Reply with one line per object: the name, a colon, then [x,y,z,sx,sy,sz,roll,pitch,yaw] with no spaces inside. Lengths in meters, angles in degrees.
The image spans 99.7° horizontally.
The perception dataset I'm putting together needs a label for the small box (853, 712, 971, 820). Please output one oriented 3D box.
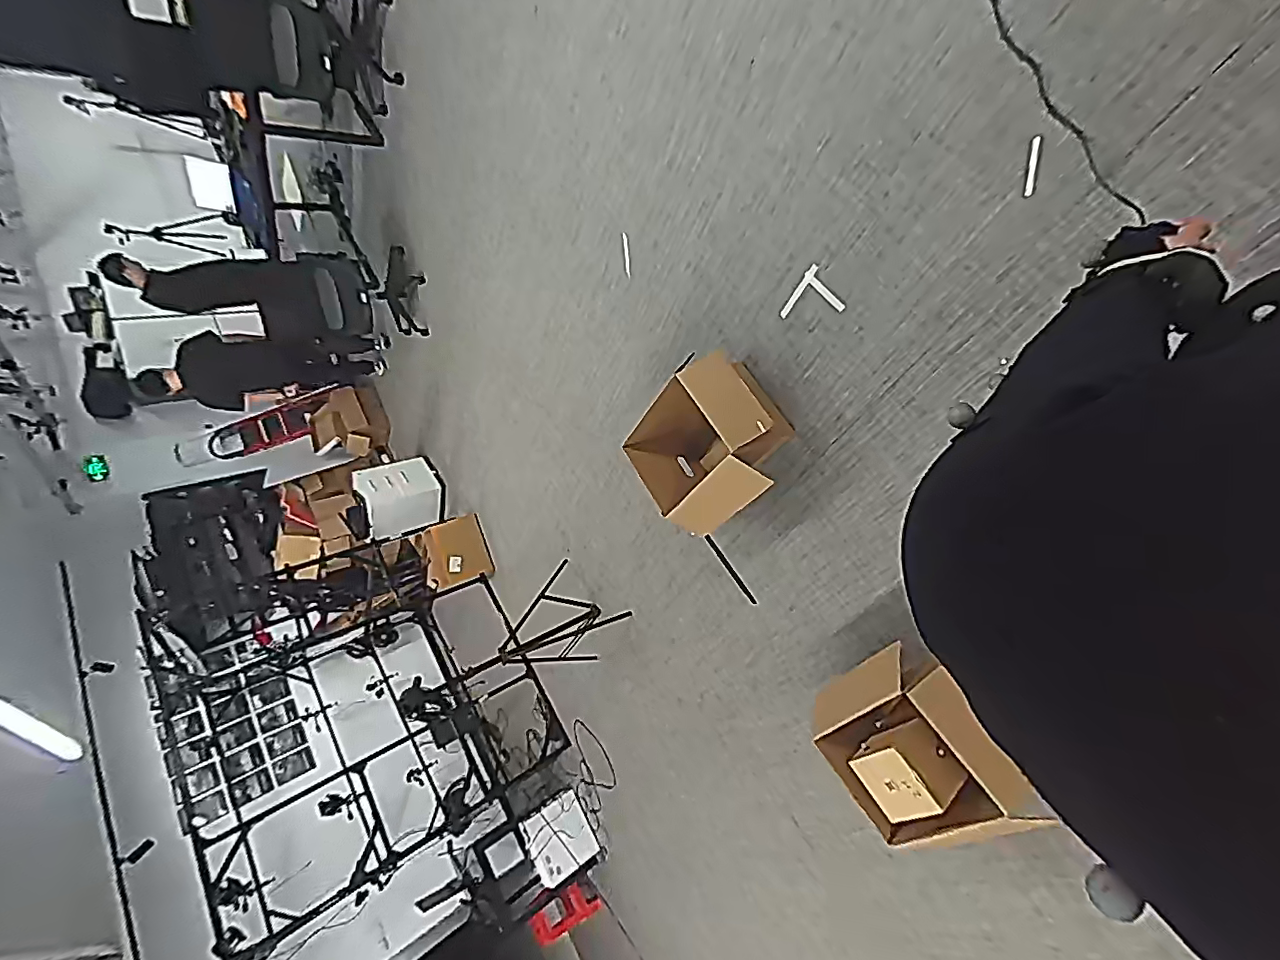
small box: [0.693,0.724,1.374,0.168,0.176,0.179,55,140,21]
